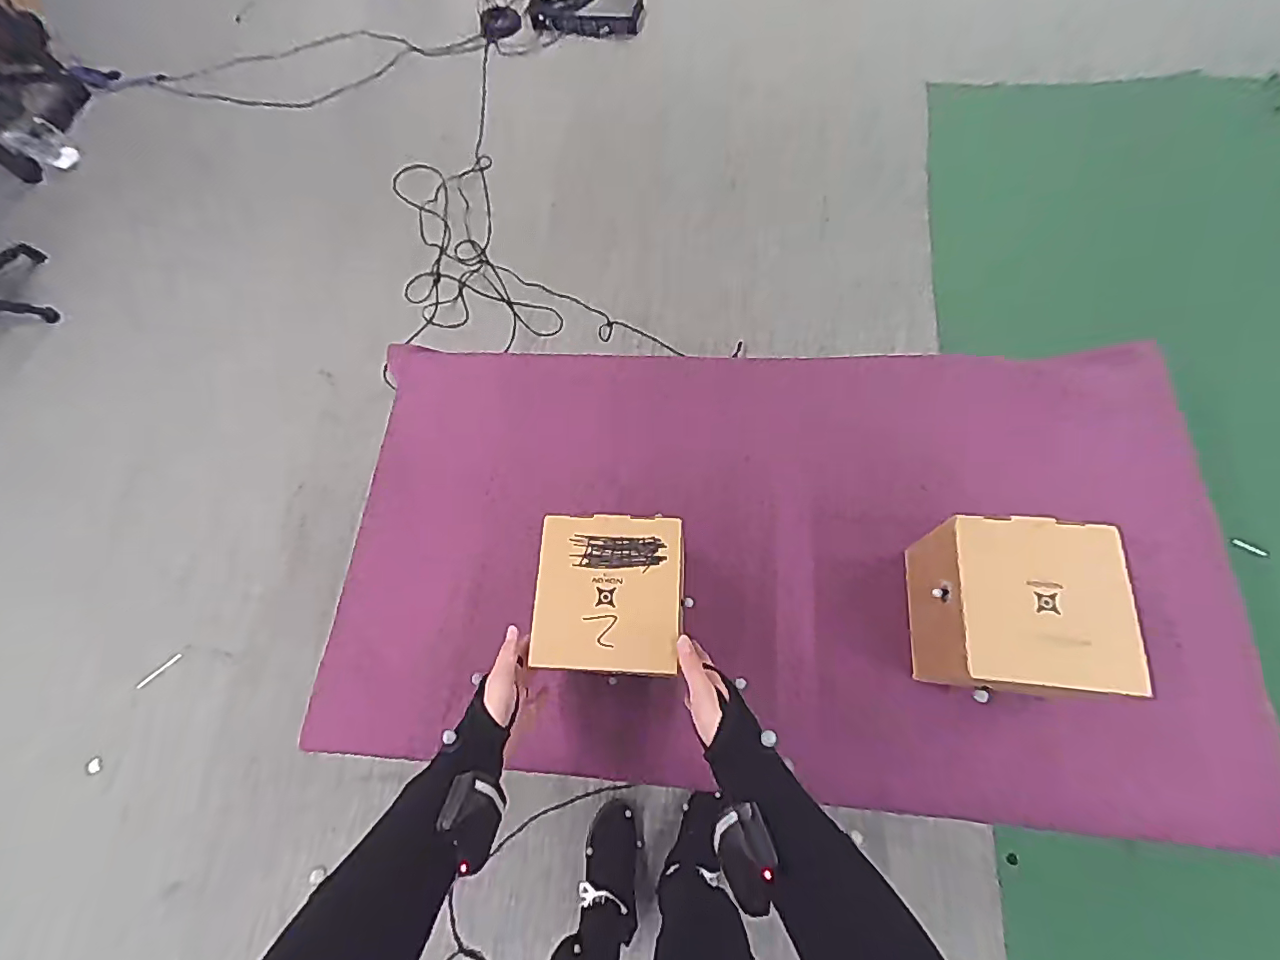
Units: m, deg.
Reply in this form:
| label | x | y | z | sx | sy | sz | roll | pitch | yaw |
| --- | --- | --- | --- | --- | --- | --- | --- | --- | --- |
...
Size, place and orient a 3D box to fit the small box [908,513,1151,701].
| label | x | y | z | sx | sy | sz | roll | pitch | yaw |
| --- | --- | --- | --- | --- | --- | --- | --- | --- | --- |
| small box | 0.425 | 0.153 | 0.629 | 0.168 | 0.176 | 0.179 | 4 | 69 | 10 |
